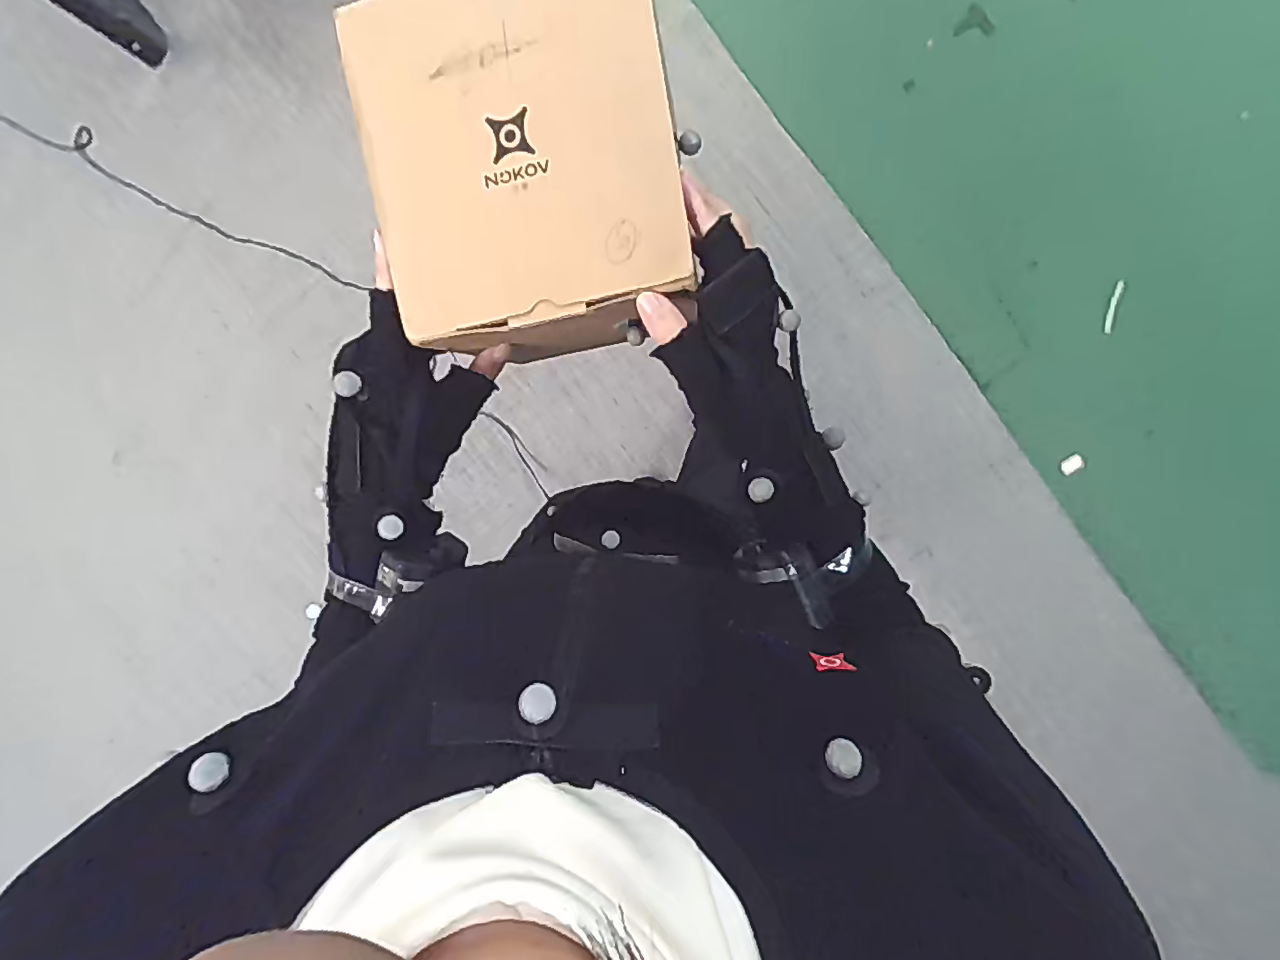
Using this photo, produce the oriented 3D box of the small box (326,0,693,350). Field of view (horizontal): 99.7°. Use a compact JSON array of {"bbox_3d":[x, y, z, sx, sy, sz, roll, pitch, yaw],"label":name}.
[{"bbox_3d":[-0.060,-0.189,0.359,0.168,0.176,0.179,-9,96,9],"label":"small box"}]
